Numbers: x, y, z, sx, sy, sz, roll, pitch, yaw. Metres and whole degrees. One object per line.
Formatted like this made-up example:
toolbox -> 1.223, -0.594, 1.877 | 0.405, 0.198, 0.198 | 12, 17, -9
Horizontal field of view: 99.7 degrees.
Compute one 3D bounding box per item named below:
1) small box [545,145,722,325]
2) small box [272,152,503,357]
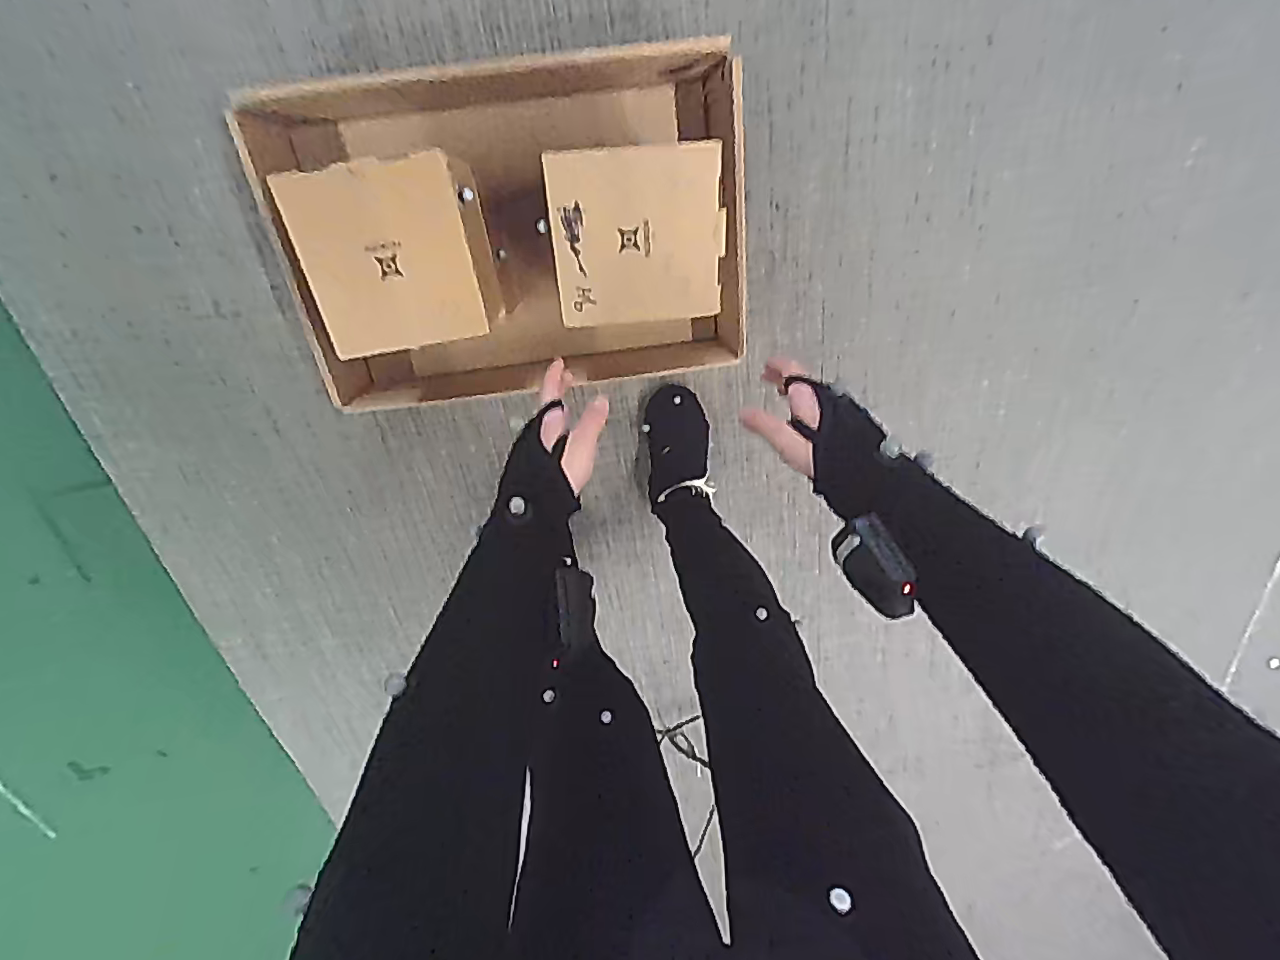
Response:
small box -> -0.009, -0.284, 0.628 | 0.179, 0.176, 0.168 | -5, 116, -3
small box -> -0.264, -0.257, 0.621 | 0.168, 0.176, 0.179 | -11, 116, -2
